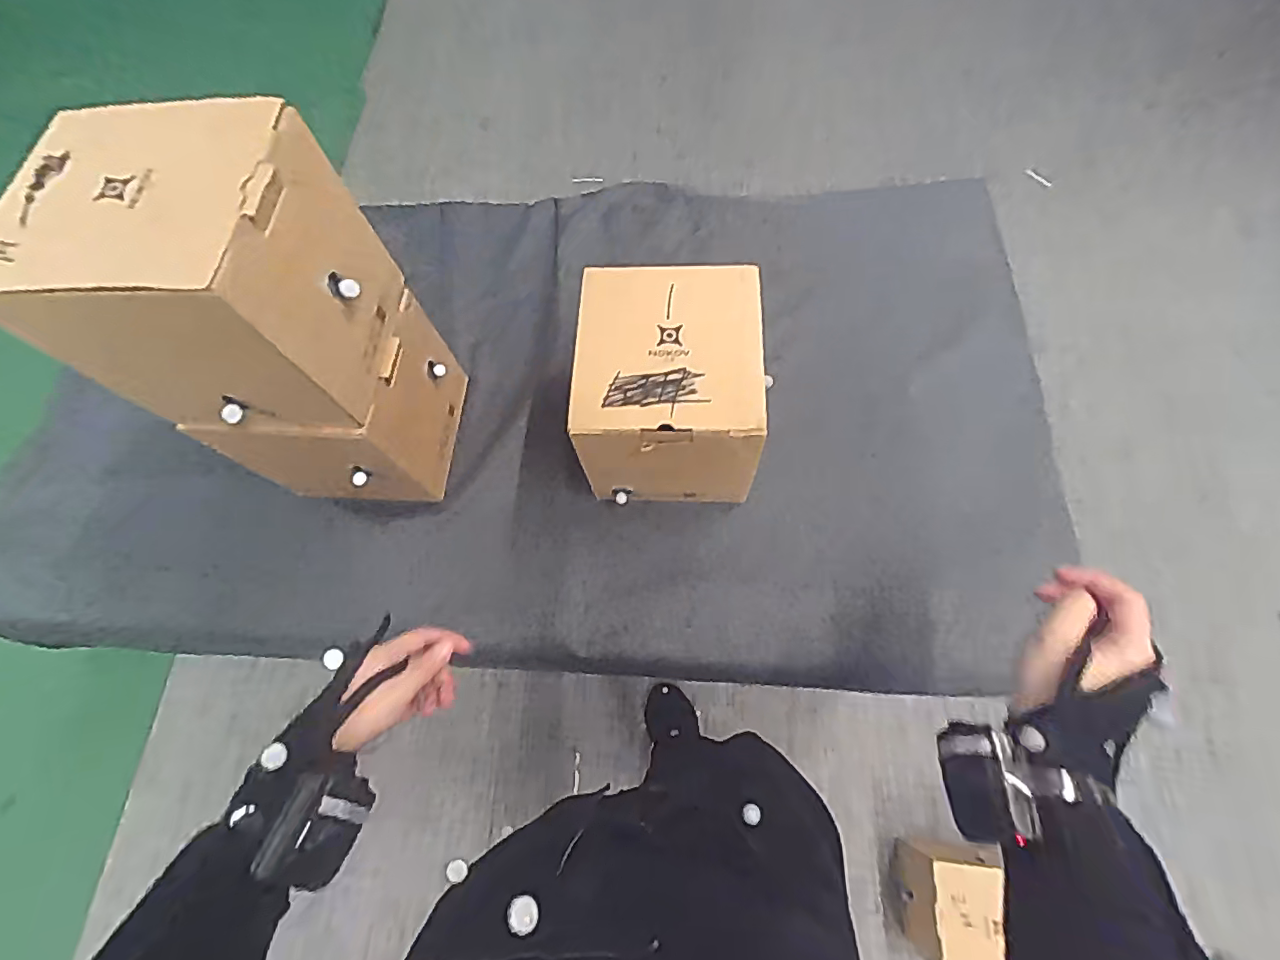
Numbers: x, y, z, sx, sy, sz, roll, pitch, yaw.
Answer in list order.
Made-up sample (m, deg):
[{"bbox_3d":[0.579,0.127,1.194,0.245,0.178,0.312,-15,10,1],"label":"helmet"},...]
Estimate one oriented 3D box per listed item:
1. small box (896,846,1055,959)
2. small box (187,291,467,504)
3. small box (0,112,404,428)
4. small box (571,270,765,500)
[{"bbox_3d":[0.578,0.761,0.948,0.179,0.176,0.168,2,66,4],"label":"small box"},{"bbox_3d":[-0.305,-0.080,0.574,0.179,0.176,0.168,1,66,5],"label":"small box"},{"bbox_3d":[-0.316,-0.151,0.427,0.179,0.176,0.168,1,67,4],"label":"small box"},{"bbox_3d":[0.032,-0.086,0.552,0.168,0.176,0.179,1,66,4],"label":"small box"}]
